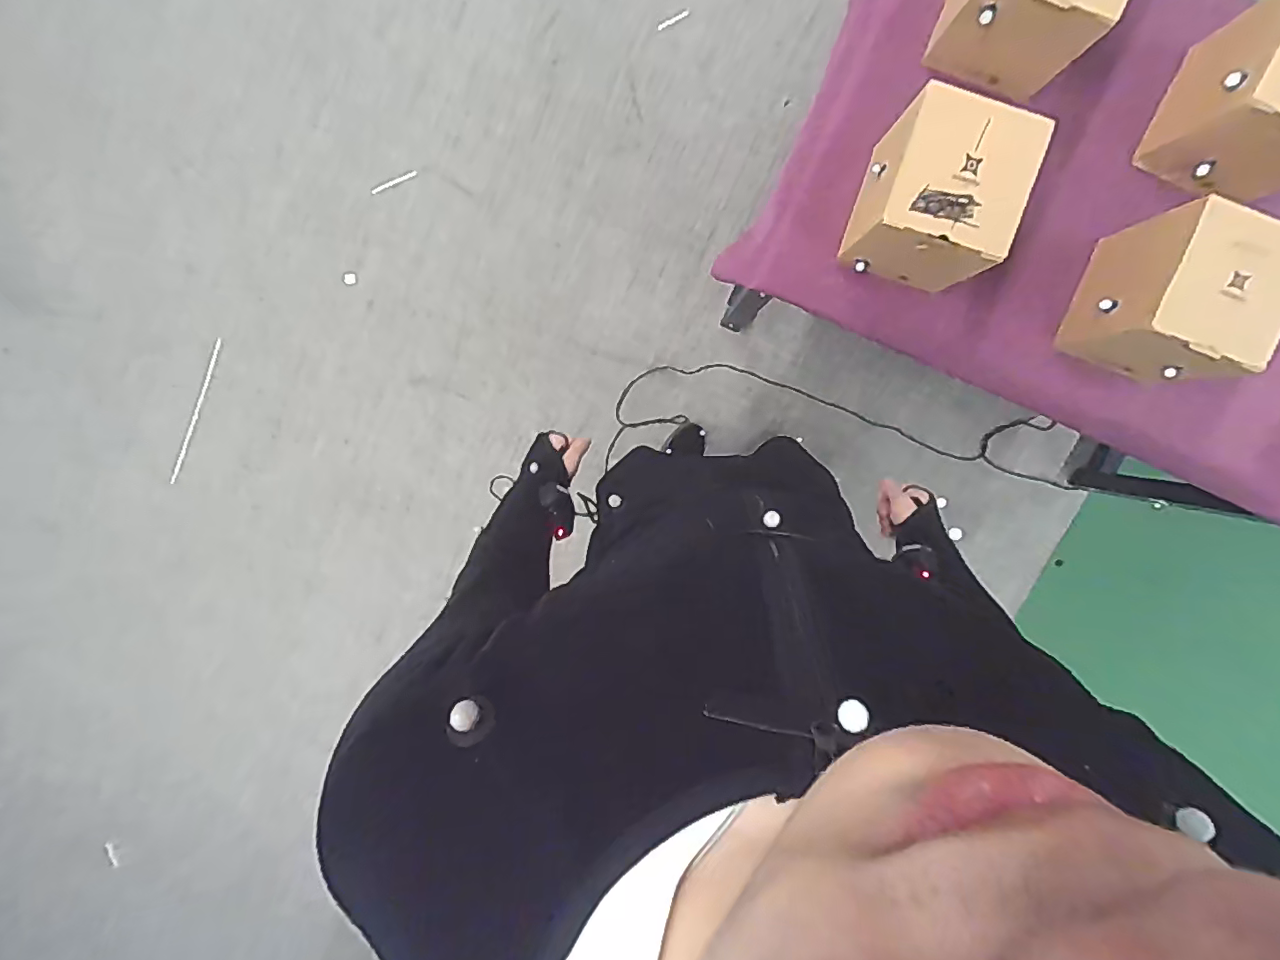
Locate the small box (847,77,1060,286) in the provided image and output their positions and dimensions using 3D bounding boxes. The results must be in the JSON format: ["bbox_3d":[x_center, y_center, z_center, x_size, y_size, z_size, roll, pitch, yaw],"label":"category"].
[{"bbox_3d":[0.405,-0.387,0.737,0.168,0.176,0.179,18,96,-1],"label":"small box"}]

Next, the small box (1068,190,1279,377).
[{"bbox_3d":[0.749,-0.252,0.745,0.168,0.176,0.179,21,96,-1],"label":"small box"}]

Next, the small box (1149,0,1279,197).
[{"bbox_3d":[0.844,-0.512,0.710,0.168,0.176,0.179,23,98,-1],"label":"small box"}]
